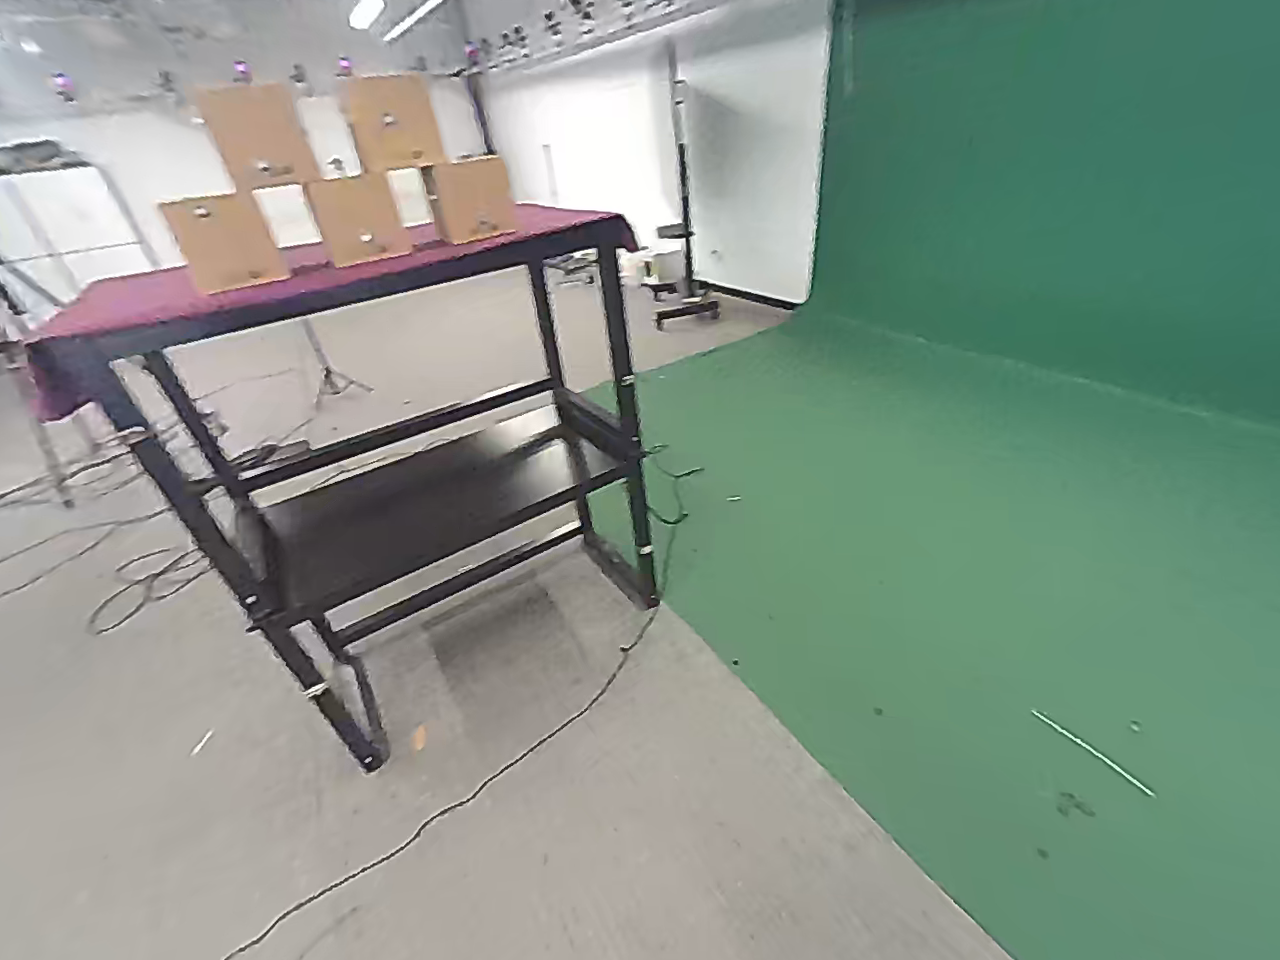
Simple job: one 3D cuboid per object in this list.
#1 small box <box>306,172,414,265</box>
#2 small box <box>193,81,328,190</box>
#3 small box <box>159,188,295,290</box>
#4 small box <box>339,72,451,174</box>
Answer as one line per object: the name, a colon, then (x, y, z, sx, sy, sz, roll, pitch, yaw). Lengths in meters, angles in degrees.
small box: (-0.636, -0.595, 1.229, 0.168, 0.176, 0.179, -24, 37, -24)
small box: (-0.756, -0.688, 1.093, 0.168, 0.176, 0.179, -23, 36, -22)
small box: (-0.846, -0.501, 1.123, 0.168, 0.176, 0.179, -25, 36, -25)
small box: (-0.537, -0.780, 1.195, 0.168, 0.176, 0.179, -23, 35, -23)
